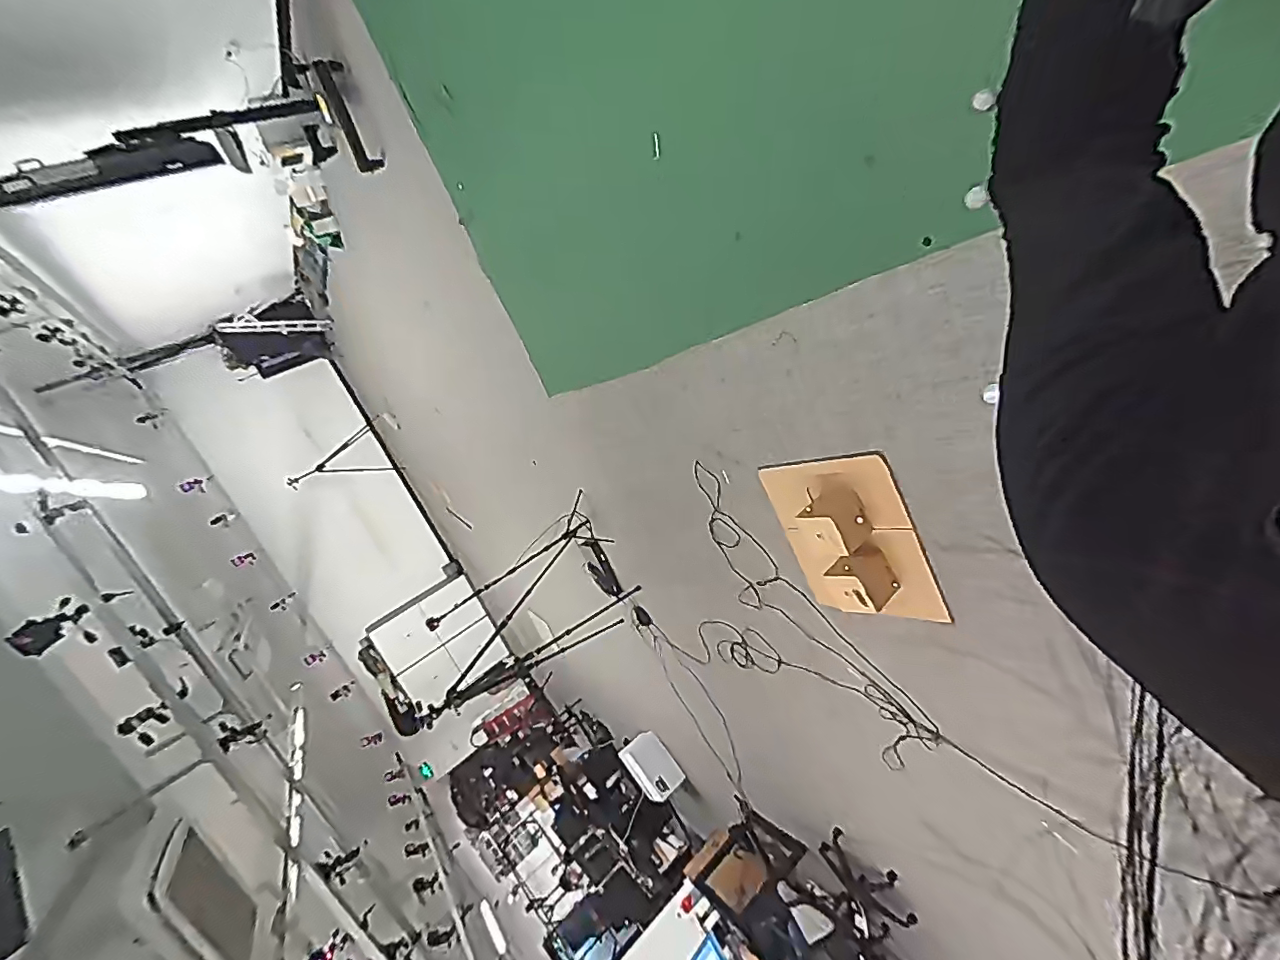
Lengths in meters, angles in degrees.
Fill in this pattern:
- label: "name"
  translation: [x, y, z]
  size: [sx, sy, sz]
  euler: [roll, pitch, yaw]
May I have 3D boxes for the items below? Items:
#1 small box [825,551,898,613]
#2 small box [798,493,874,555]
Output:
- label: "small box"
  translation: [0.843, 0.380, 2.041]
  size: [0.168, 0.176, 0.179]
  euler: [60, 152, -7]
- label: "small box"
  translation: [0.727, 0.159, 2.004]
  size: [0.179, 0.176, 0.168]
  euler: [-9, 113, 59]
